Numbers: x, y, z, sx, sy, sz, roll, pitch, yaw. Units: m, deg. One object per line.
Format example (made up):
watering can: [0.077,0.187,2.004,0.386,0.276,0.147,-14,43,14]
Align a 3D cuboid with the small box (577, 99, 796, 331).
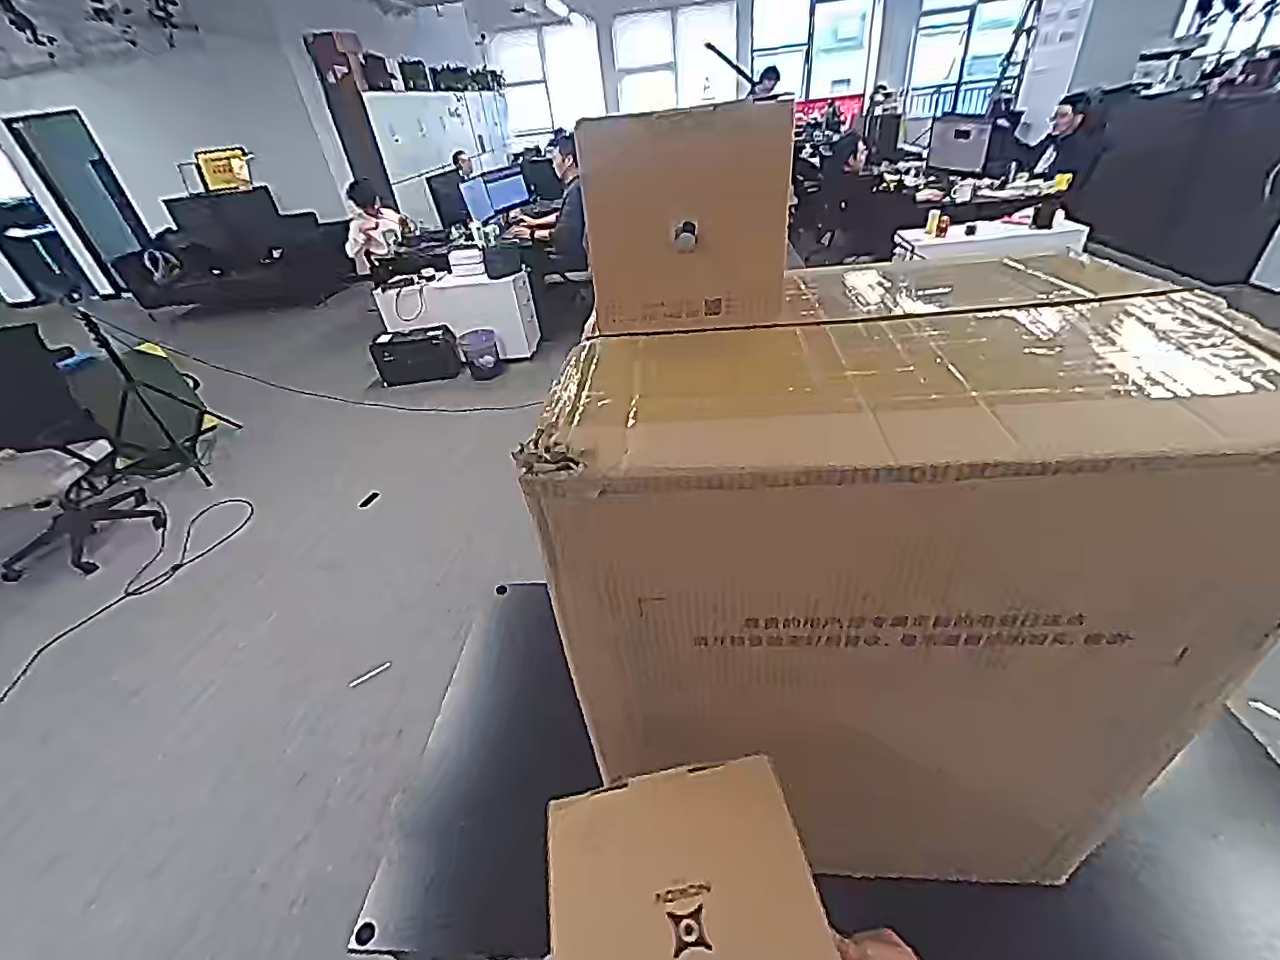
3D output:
small box: [0.047,-0.245,0.507,0.168,0.176,0.179,-2,34,6]
